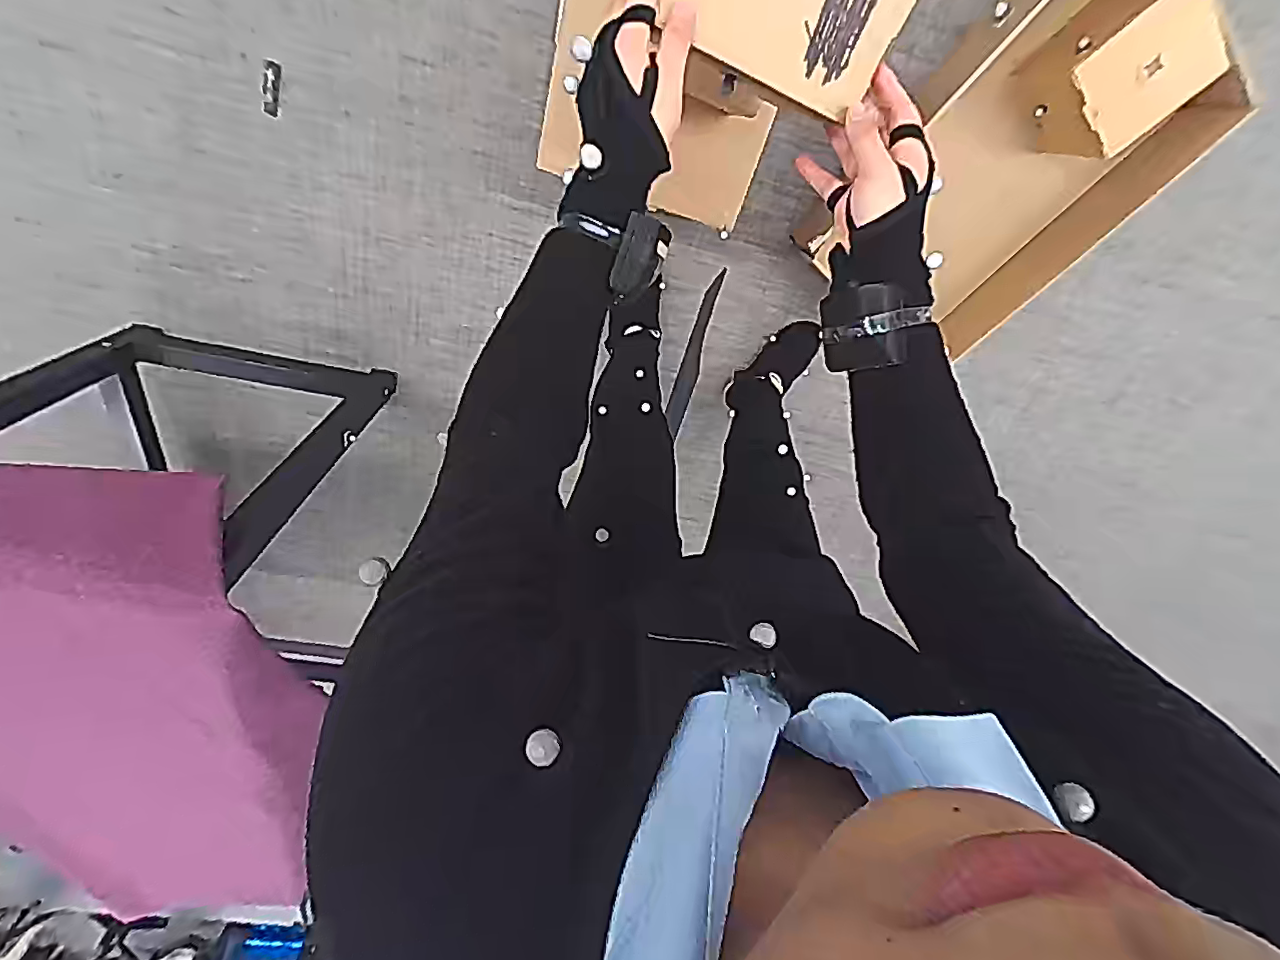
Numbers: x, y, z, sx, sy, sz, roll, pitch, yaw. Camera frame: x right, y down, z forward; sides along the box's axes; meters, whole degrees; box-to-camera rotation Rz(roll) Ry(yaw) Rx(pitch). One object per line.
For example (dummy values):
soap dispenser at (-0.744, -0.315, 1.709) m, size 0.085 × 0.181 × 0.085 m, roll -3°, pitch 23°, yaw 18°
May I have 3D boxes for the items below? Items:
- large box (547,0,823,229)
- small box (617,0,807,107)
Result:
large box at (0.060, -0.667, 0.830) m, size 0.320 × 0.320 × 0.408 m, roll 14°, pitch 125°, yaw -9°
small box at (0.083, -0.549, 0.611) m, size 0.179 × 0.176 × 0.168 m, roll 17°, pitch 124°, yaw -13°
